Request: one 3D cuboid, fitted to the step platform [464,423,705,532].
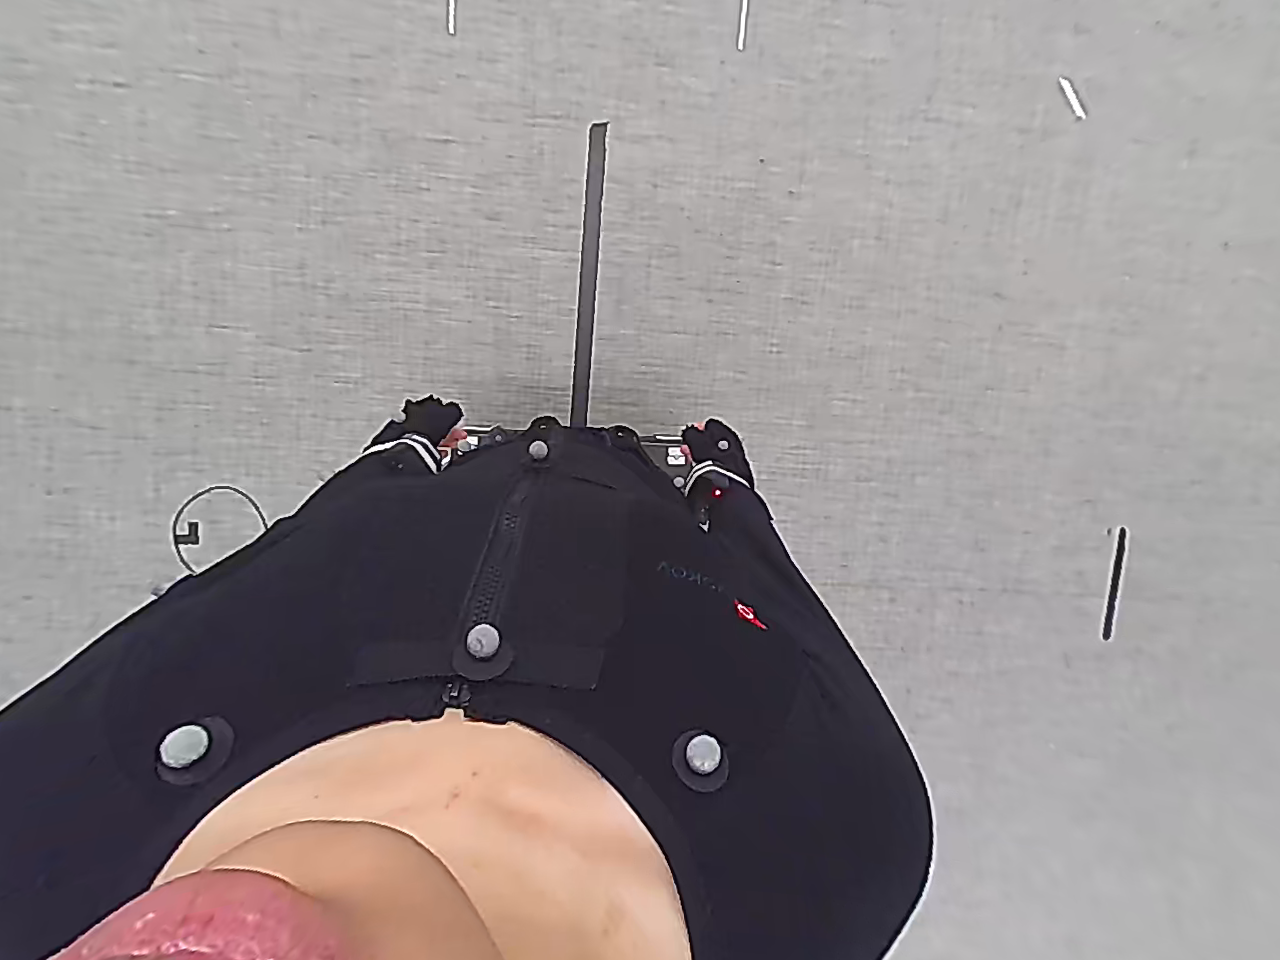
[{"bbox_3d":[-0.154,-0.009,1.569,0.684,0.204,0.286,2,98,-5],"label":"step platform"}]
